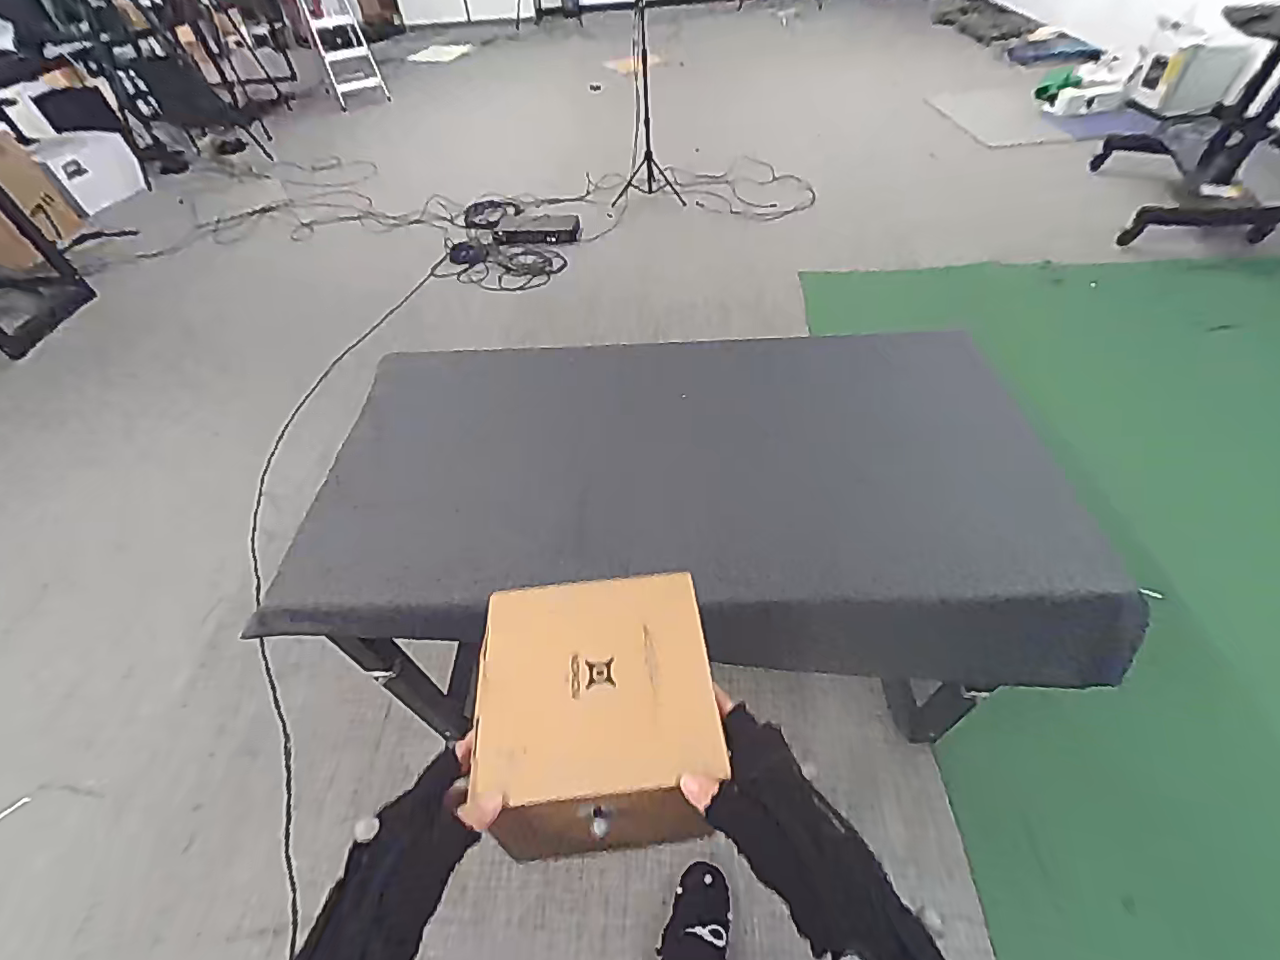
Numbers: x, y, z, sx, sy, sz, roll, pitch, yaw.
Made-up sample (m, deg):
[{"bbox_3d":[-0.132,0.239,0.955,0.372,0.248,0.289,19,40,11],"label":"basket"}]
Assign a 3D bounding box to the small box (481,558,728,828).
[{"bbox_3d":[-0.029,0.192,0.484,0.179,0.176,0.168,-5,46,-4],"label":"small box"}]
